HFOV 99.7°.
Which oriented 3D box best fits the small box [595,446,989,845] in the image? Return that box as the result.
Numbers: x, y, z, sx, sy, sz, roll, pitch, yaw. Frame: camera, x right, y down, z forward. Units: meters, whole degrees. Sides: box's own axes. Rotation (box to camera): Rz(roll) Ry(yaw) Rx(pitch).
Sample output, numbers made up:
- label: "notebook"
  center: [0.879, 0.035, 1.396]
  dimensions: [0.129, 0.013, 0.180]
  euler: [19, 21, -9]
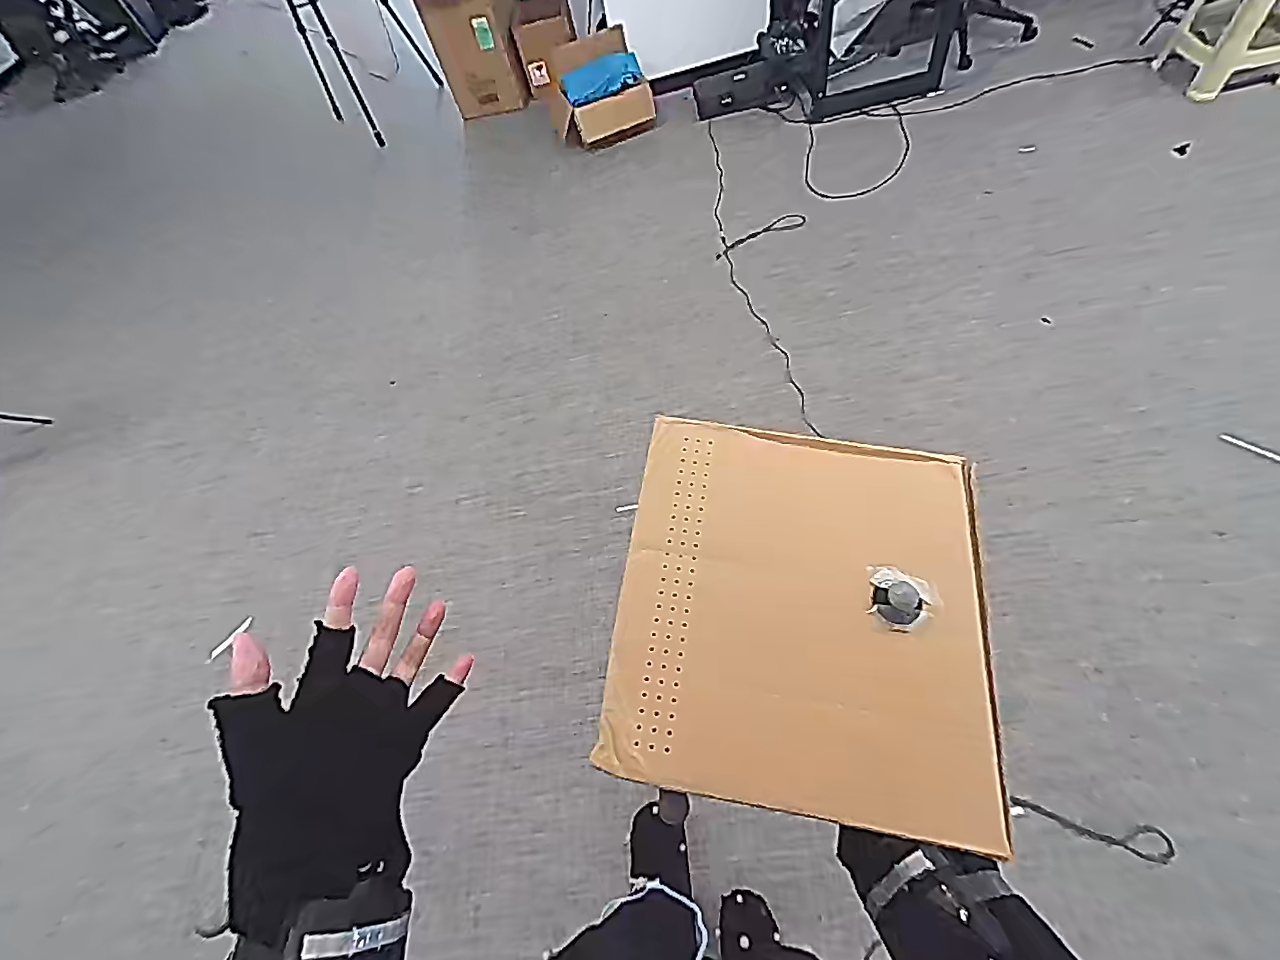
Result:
- label: "small box"
  center: [0.074, 0.096, 0.331]
  dimensions: [0.176, 0.168, 0.179]
  euler: [8, 64, 7]
